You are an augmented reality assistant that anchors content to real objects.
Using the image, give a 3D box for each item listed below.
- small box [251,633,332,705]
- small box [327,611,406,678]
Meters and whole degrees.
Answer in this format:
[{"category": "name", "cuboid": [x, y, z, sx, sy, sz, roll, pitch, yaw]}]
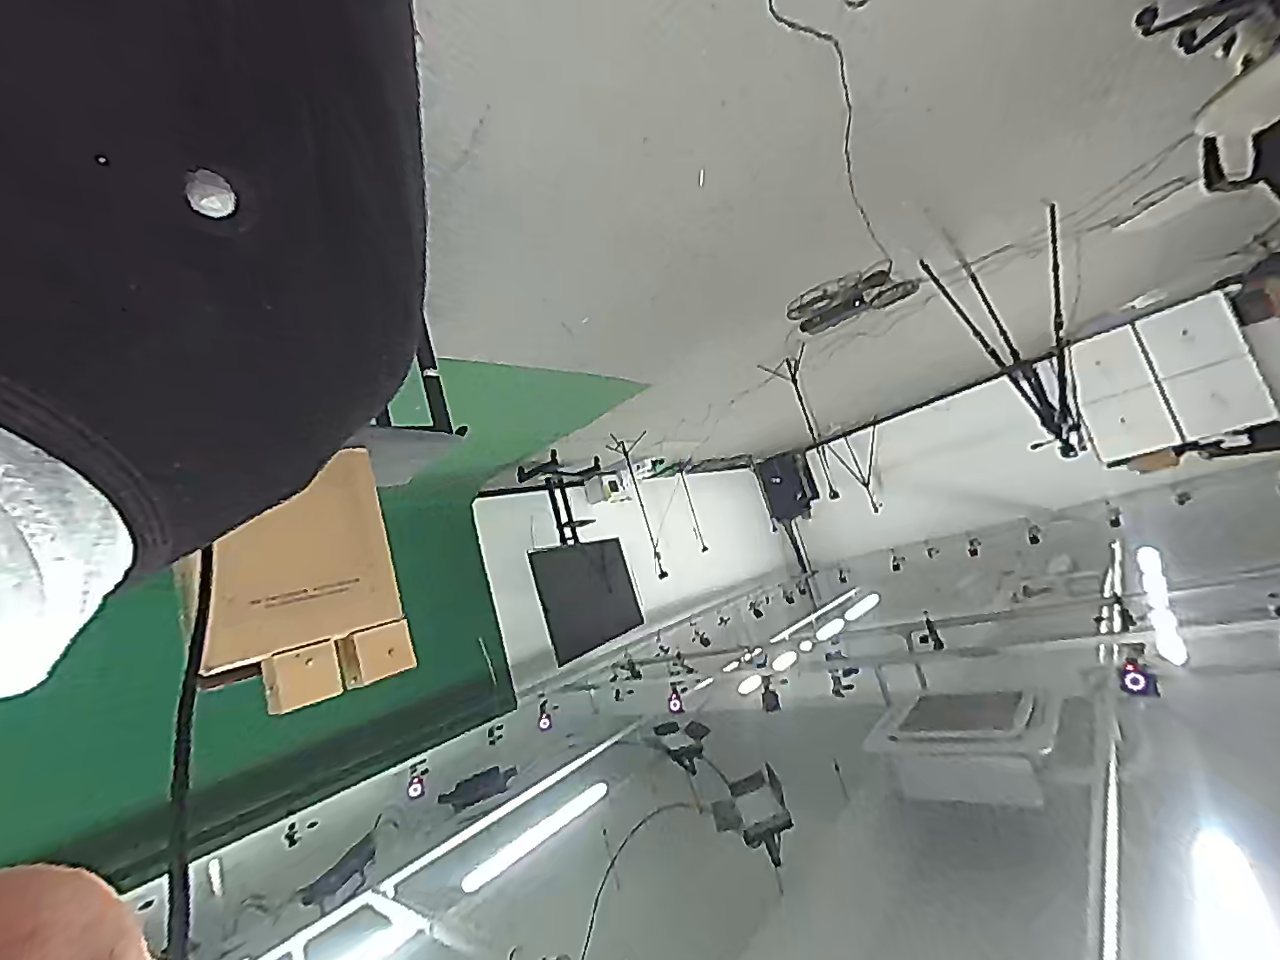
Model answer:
[{"category": "small box", "cuboid": [-1.084, 0.582, 1.676, 0.179, 0.176, 0.168, -25, 169, 41]}, {"category": "small box", "cuboid": [-0.931, 0.555, 1.833, 0.168, 0.176, 0.179, -24, 171, 41]}]
